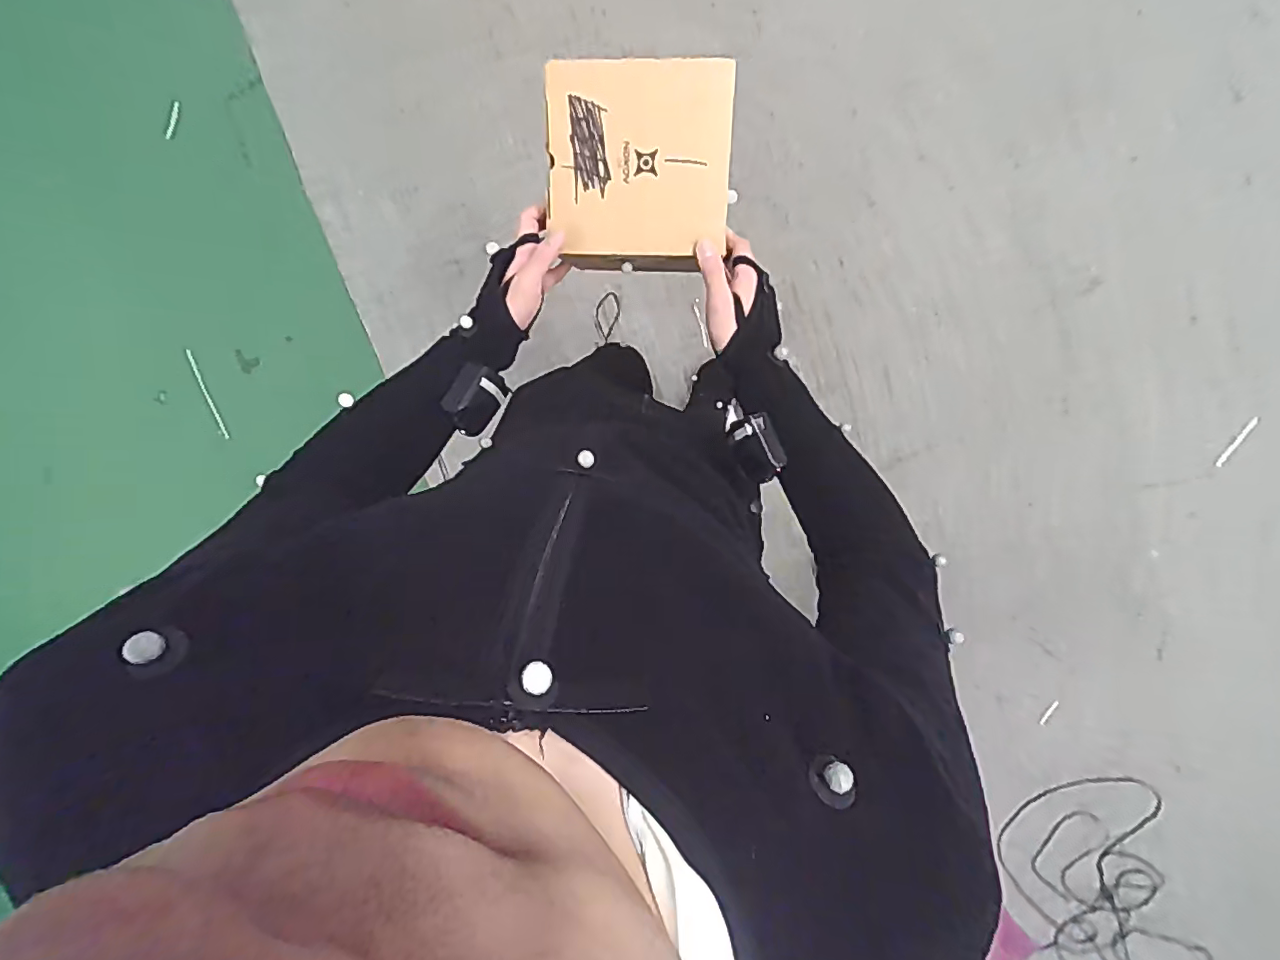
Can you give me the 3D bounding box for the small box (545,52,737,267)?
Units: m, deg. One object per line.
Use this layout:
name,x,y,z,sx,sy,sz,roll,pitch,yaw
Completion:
small box,0.004,-0.325,0.582,0.179,0.176,0.168,3,107,3
